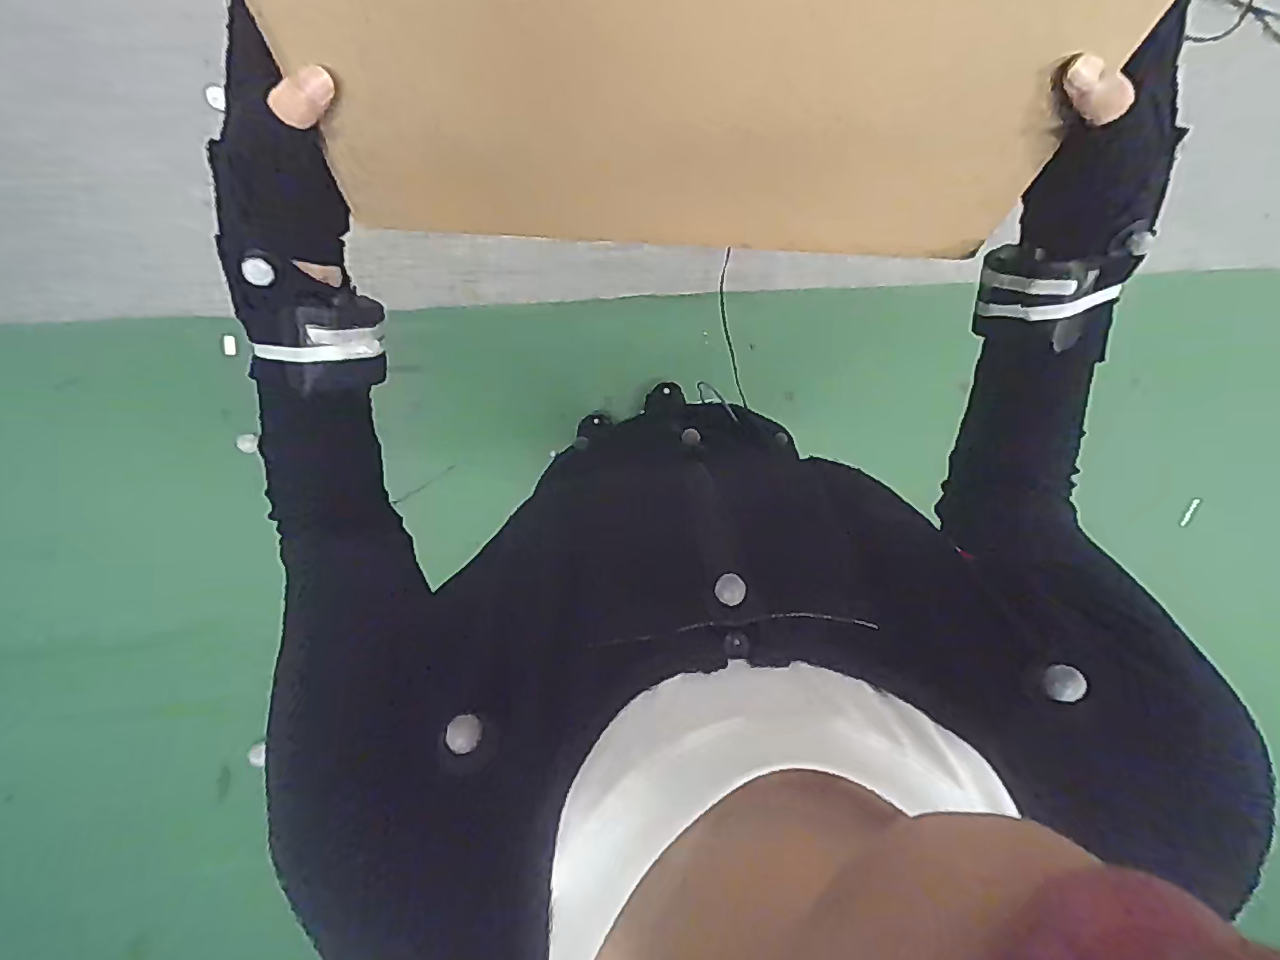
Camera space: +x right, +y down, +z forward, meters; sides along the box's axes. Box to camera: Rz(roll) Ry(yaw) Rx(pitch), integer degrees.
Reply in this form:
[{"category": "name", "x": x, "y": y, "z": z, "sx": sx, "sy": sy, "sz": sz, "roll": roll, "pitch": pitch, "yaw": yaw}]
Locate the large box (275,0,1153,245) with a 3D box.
[{"category": "large box", "x": 0.034, "y": -0.358, "z": 0.281, "sx": 0.408, "sy": 0.320, "sz": 0.320, "roll": 2, "pitch": 66, "yaw": -4}]
